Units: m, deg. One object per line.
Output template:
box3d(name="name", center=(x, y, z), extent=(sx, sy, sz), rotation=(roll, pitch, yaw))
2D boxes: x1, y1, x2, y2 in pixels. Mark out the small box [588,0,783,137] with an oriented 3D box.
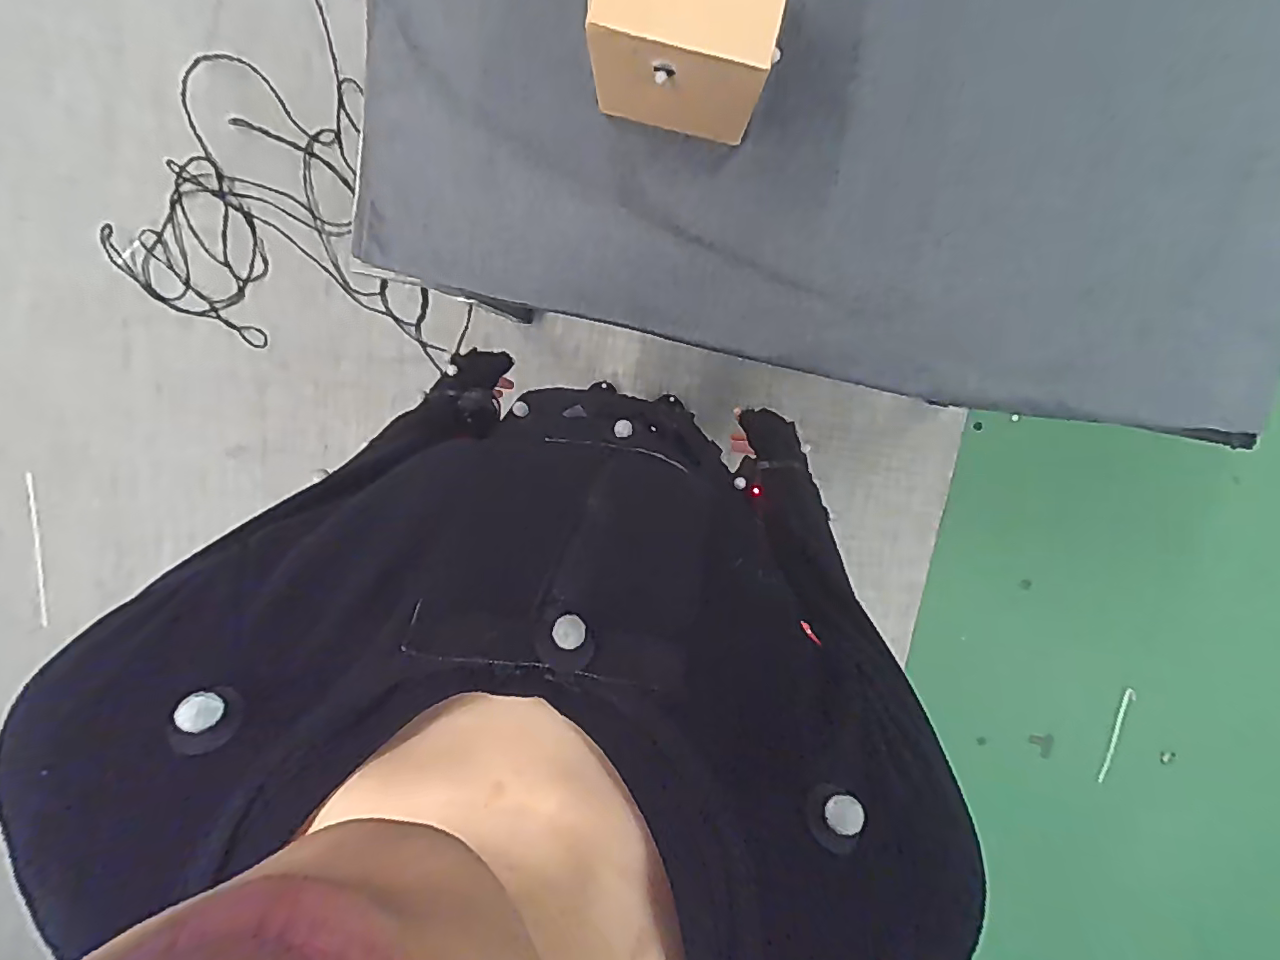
box3d(name="small box", center=(0.053, -0.496, 0.569), extent=(0.179, 0.176, 0.168), rotation=(13, 100, -3))
